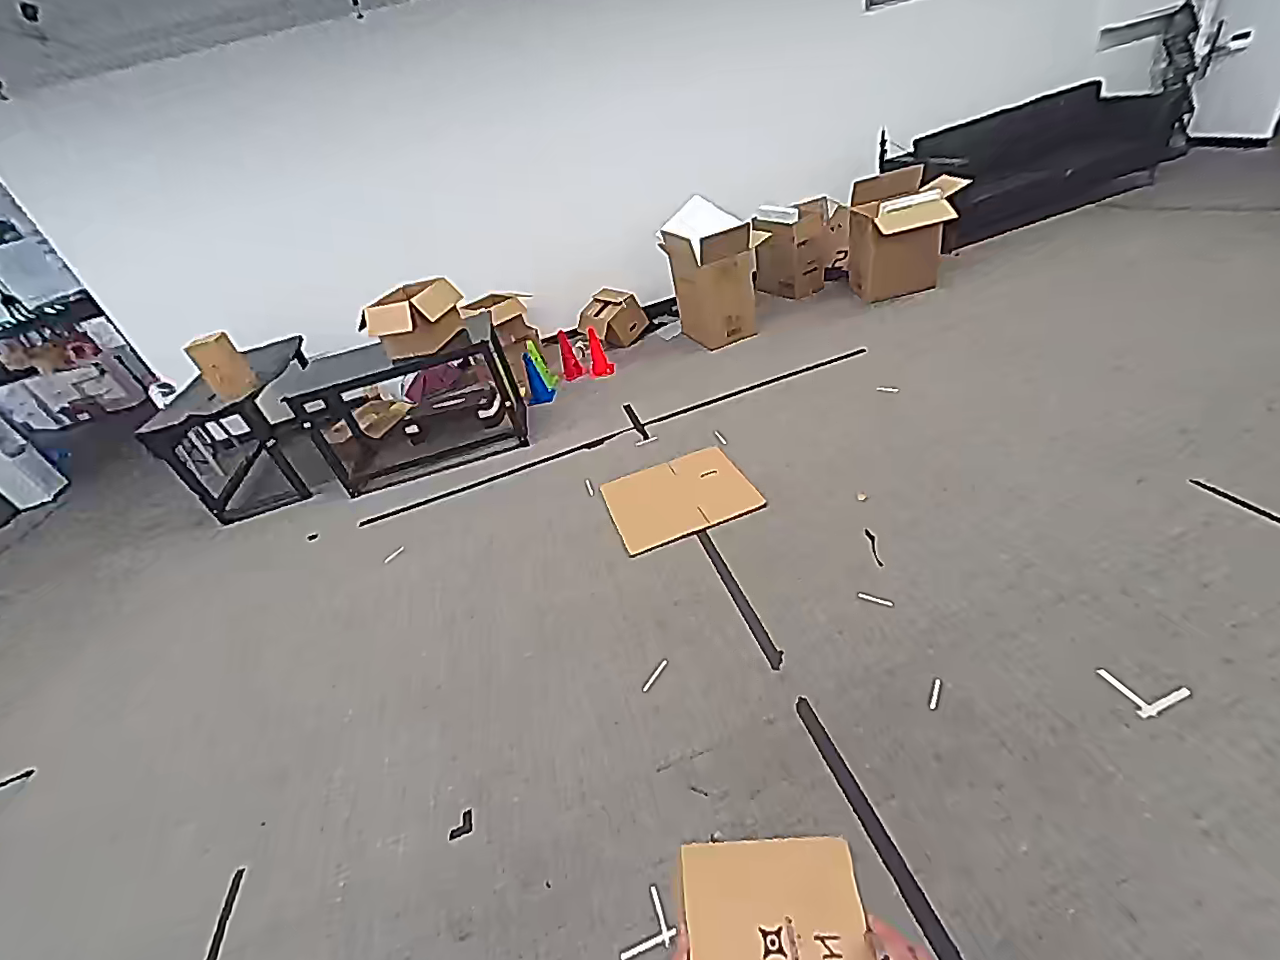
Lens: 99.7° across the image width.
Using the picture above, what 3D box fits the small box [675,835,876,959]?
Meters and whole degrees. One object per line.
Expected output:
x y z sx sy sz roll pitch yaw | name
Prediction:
0.129 0.485 0.559 0.179 0.176 0.168 -2 46 -3 | small box
